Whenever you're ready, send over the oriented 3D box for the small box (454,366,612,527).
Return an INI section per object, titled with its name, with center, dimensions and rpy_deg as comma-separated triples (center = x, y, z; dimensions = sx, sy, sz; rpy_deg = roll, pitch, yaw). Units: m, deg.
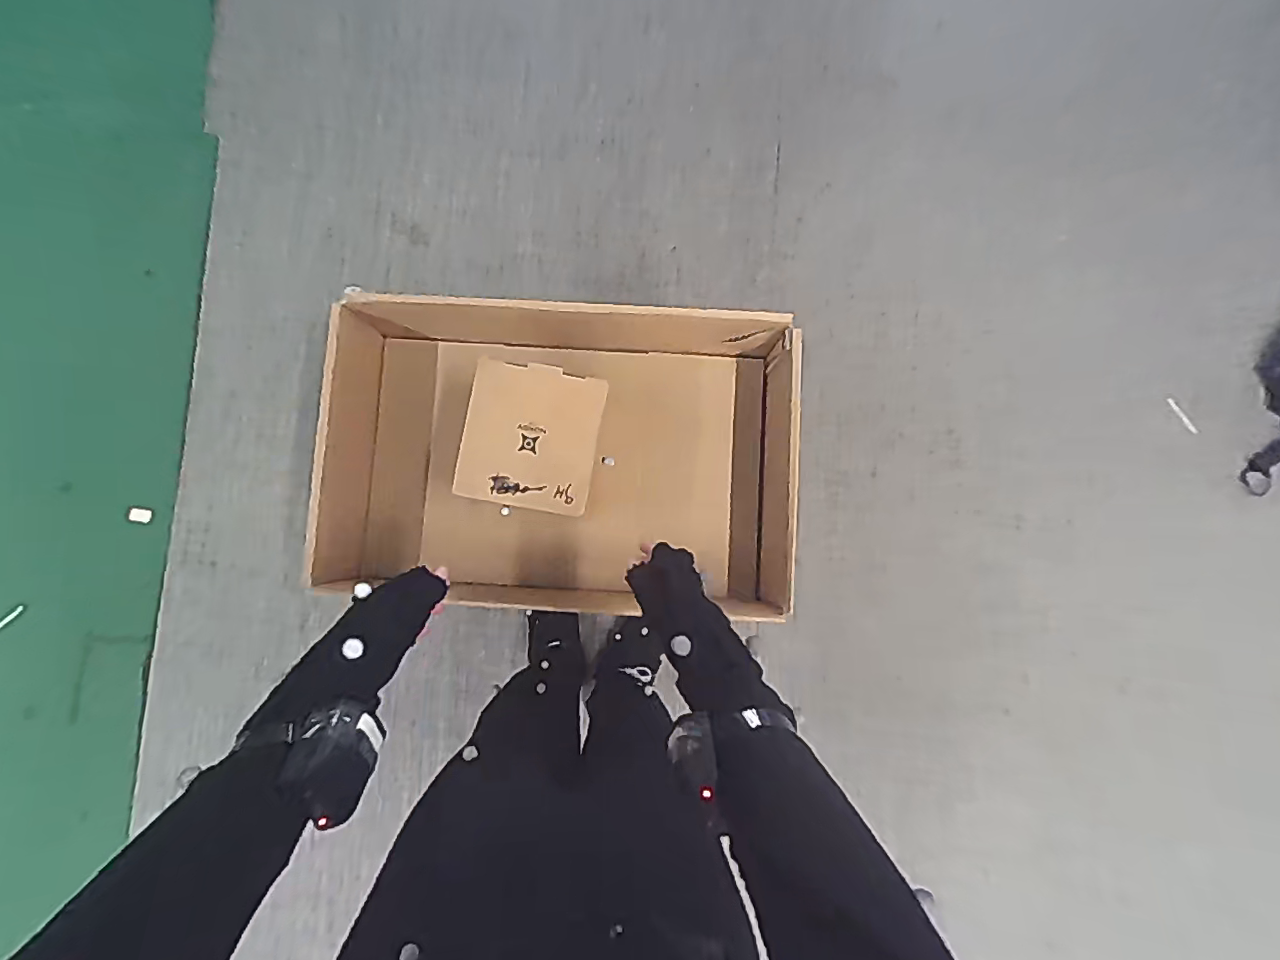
[small box]
center = -0.134, -0.036, 0.746
dimensions = 0.168, 0.176, 0.179
rpy_deg = 10, 84, 1
